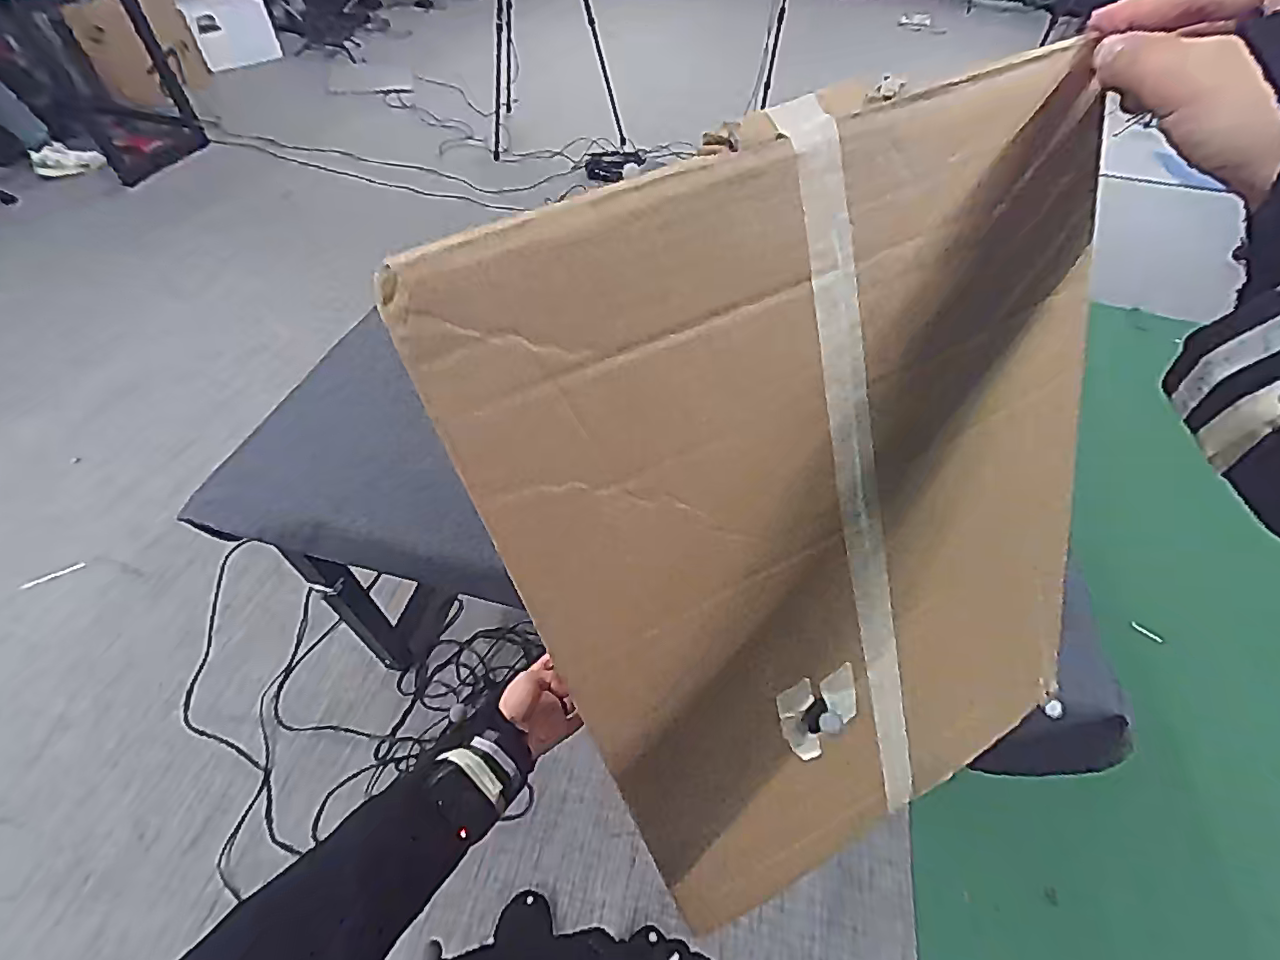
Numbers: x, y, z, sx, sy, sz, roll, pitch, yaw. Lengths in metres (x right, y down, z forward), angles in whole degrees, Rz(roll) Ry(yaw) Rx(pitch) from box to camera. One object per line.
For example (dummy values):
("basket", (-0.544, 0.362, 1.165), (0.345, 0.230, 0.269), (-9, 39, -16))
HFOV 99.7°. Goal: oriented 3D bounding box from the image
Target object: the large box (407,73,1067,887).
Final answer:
("large box", (0.062, -0.008, 0.429), (0.320, 0.408, 0.320), (-26, 29, -13))
